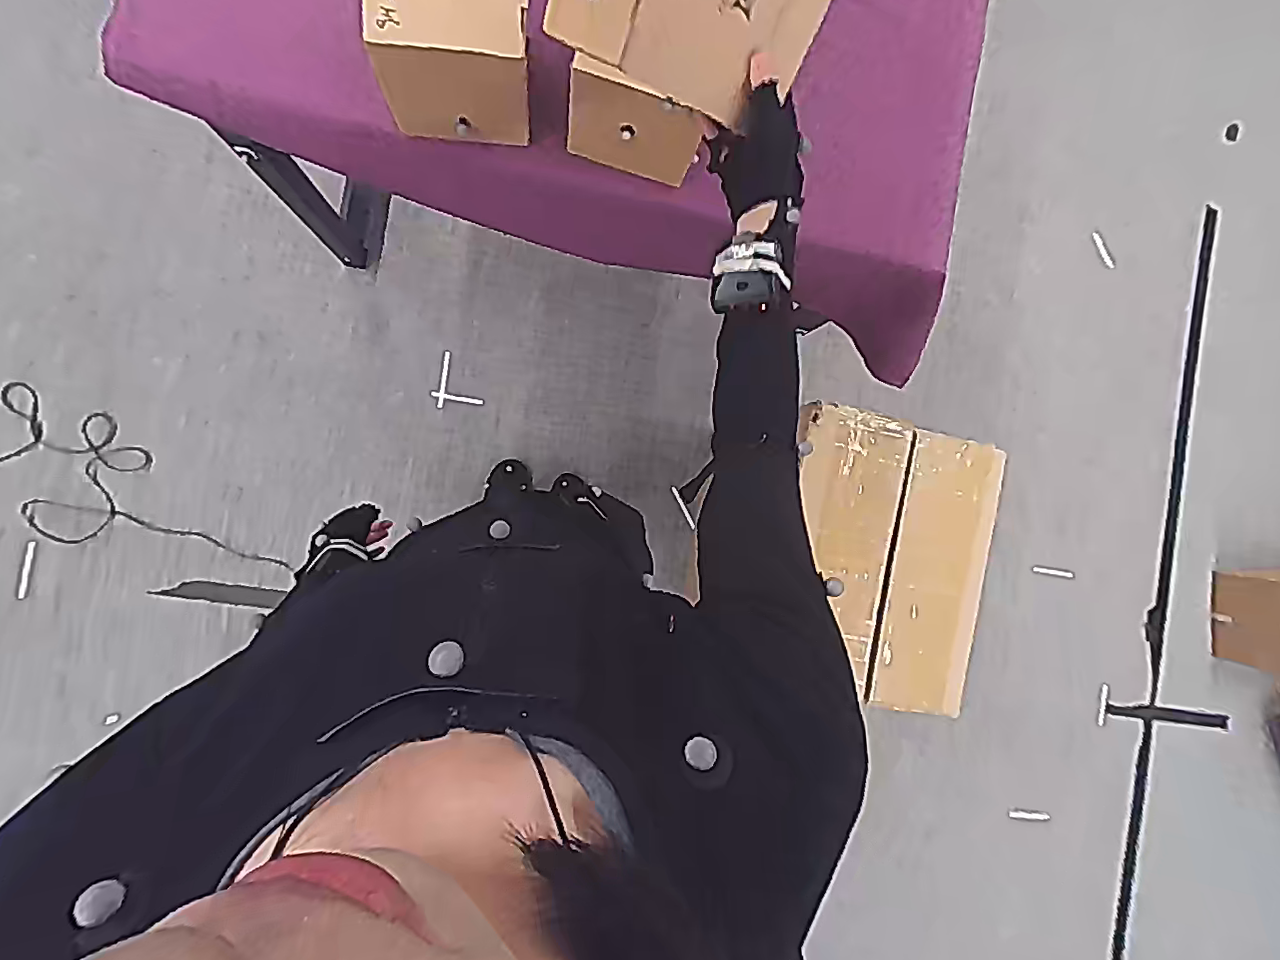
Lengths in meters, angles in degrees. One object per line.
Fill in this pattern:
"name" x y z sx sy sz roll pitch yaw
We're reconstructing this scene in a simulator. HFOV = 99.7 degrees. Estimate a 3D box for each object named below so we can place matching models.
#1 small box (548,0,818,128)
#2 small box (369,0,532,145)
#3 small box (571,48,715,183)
"small box" 0.039 -0.447 0.476 0.179 0.176 0.168 -3 133 -36
"small box" -0.230 -0.560 0.689 0.179 0.176 0.168 -1 89 -11
"small box" 0.011 -0.537 0.729 0.179 0.176 0.168 14 87 -8
